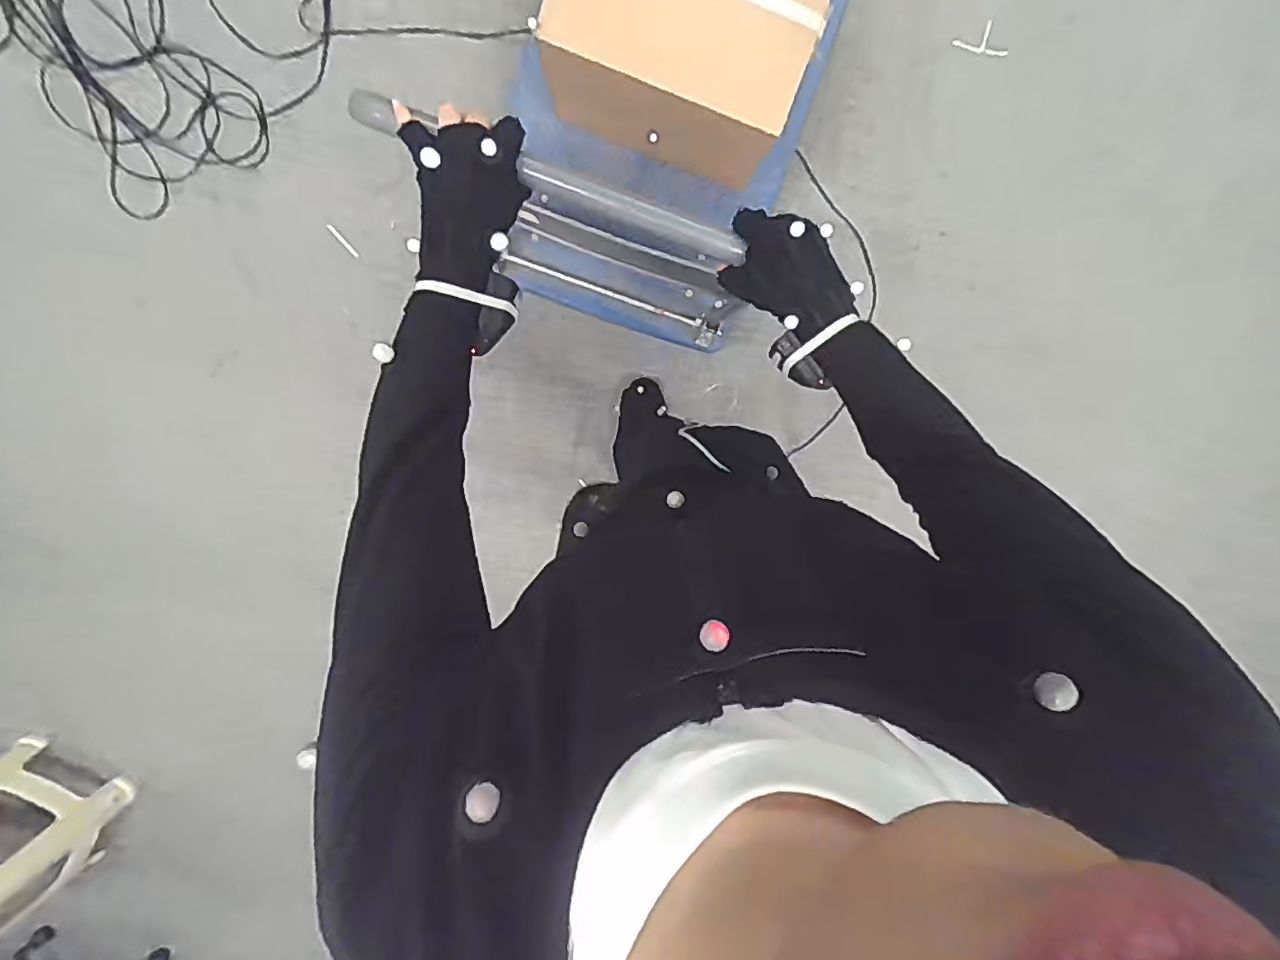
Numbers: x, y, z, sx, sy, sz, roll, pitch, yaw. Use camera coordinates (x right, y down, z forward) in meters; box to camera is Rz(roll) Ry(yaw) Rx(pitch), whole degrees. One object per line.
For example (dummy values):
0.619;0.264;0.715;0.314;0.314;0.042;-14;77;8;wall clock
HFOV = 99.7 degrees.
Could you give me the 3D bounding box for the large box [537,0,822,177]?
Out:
0.080;-0.794;0.942;0.408;0.320;0.320;19;101;-4;large box
